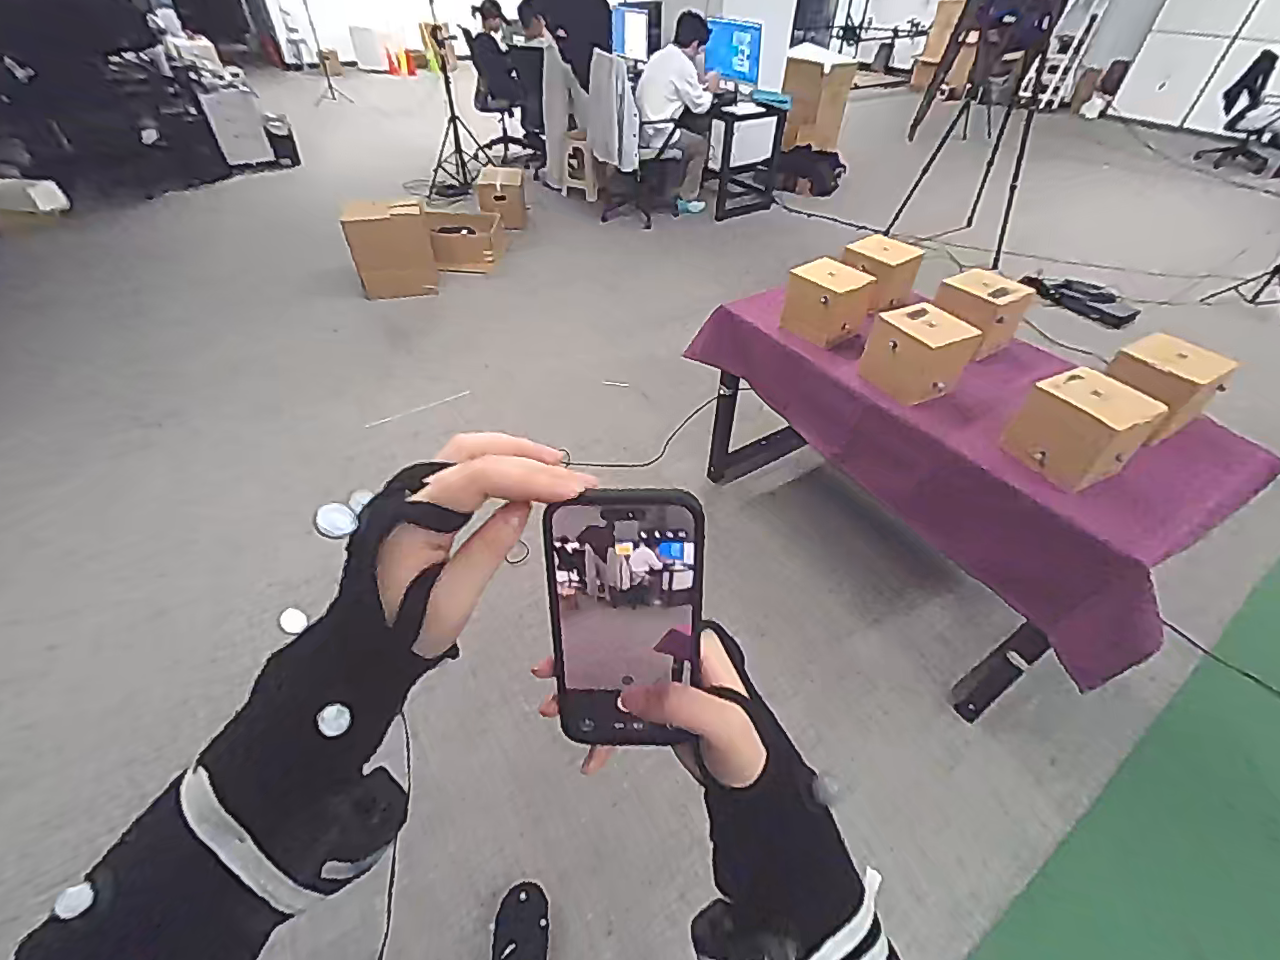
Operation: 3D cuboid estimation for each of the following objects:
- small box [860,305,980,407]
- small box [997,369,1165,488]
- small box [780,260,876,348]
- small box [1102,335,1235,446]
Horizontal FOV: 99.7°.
[{"bbox_3d":[0.681,-0.308,1.340,0.168,0.176,0.179,-18,48,-20],"label":"small box"},{"bbox_3d":[0.910,-0.102,1.133,0.168,0.176,0.179,-17,47,-20],"label":"small box"},{"bbox_3d":[0.523,-0.498,1.533,0.168,0.176,0.179,-28,53,-28],"label":"small box"},{"bbox_3d":[1.182,-0.206,1.249,0.179,0.176,0.168,-21,48,-21],"label":"small box"}]
